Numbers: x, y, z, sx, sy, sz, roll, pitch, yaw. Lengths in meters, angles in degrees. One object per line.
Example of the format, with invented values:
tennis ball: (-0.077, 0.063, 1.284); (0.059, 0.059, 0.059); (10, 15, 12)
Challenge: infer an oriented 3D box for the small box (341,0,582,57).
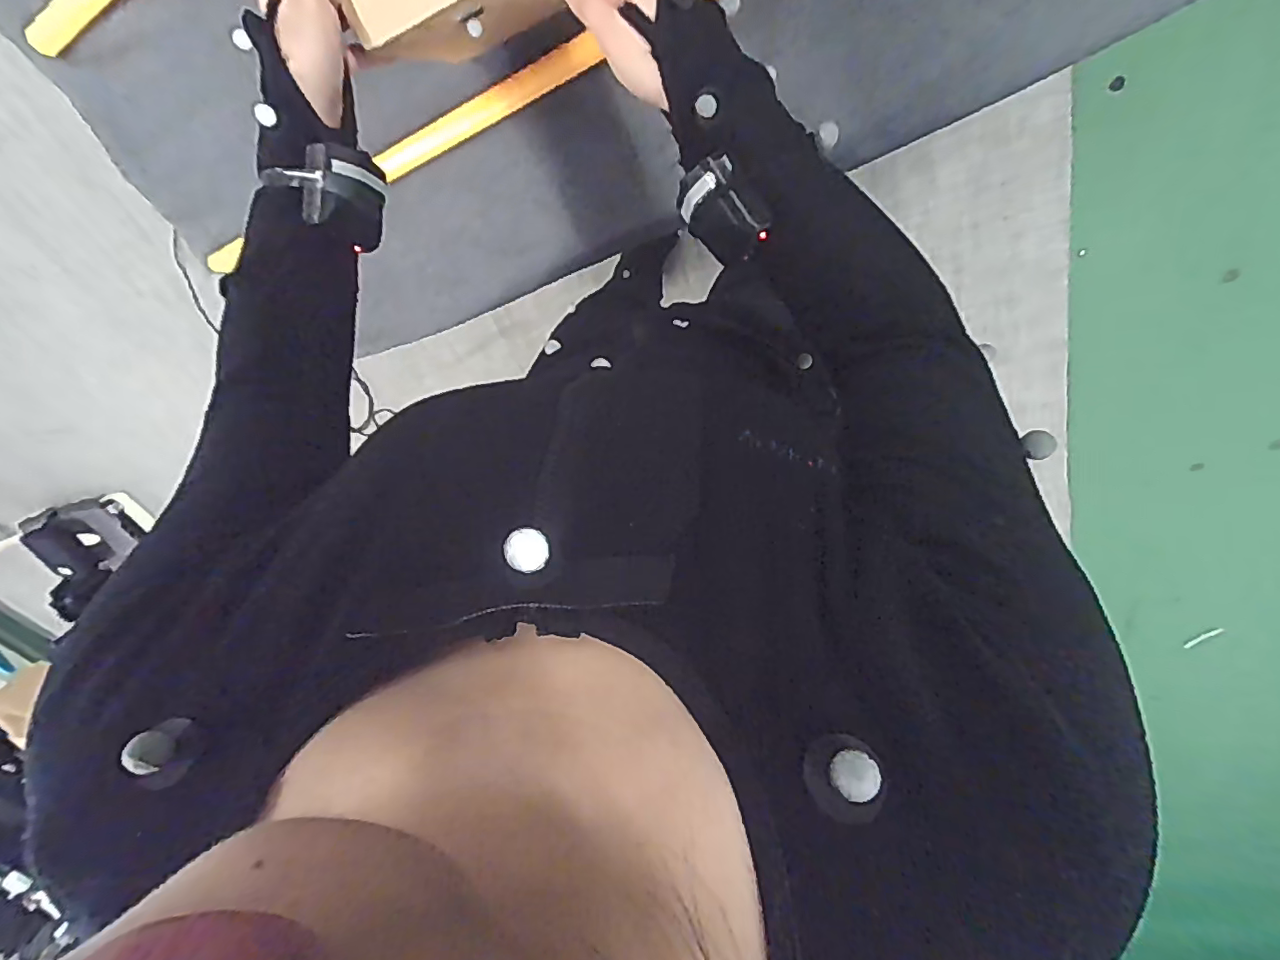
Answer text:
small box: (-0.138, -0.444, 0.402); (0.179, 0.176, 0.168); (-11, 124, 19)
